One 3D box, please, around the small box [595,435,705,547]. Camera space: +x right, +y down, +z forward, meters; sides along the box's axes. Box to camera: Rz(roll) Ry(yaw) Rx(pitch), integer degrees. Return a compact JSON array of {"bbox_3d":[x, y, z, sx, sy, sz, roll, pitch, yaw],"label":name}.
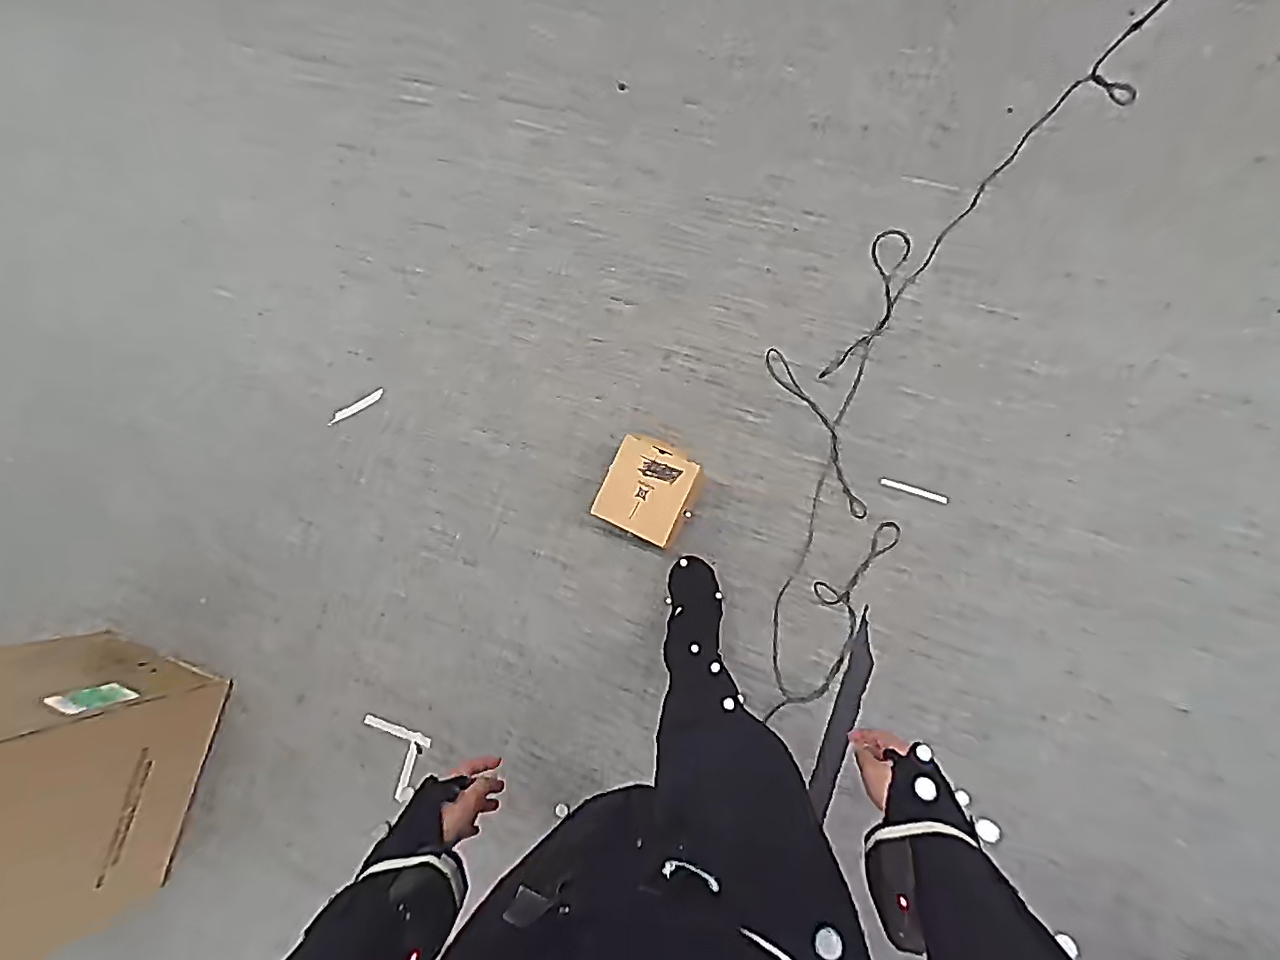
[{"bbox_3d":[0.028,0.028,1.140,0.168,0.176,0.179,25,89,11],"label":"small box"}]
